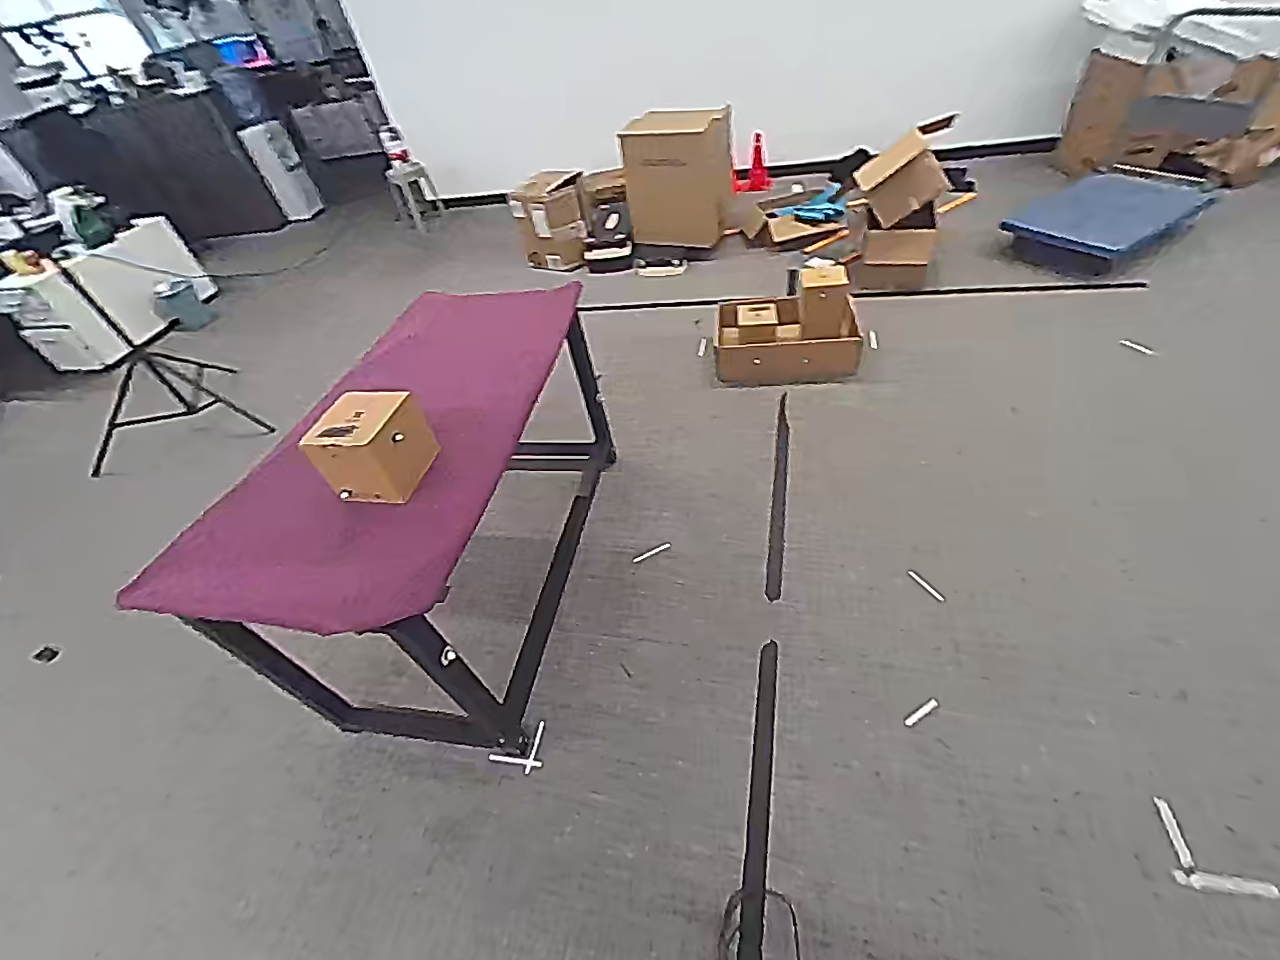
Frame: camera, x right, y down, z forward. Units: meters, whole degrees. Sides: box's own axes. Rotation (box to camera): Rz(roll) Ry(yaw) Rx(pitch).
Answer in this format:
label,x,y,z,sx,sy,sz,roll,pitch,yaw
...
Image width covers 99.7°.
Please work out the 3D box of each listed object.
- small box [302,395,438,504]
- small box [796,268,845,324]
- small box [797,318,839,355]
label,x,y,z,sx,sy,sz,roll,pitch,yaw
small box,-0.569,-0.064,1.170,0.168,0.176,0.179,2,46,14
small box,0.771,-0.788,2.323,0.179,0.176,0.168,-2,46,12
small box,0.800,-0.676,2.437,0.168,0.176,0.179,-1,45,12
